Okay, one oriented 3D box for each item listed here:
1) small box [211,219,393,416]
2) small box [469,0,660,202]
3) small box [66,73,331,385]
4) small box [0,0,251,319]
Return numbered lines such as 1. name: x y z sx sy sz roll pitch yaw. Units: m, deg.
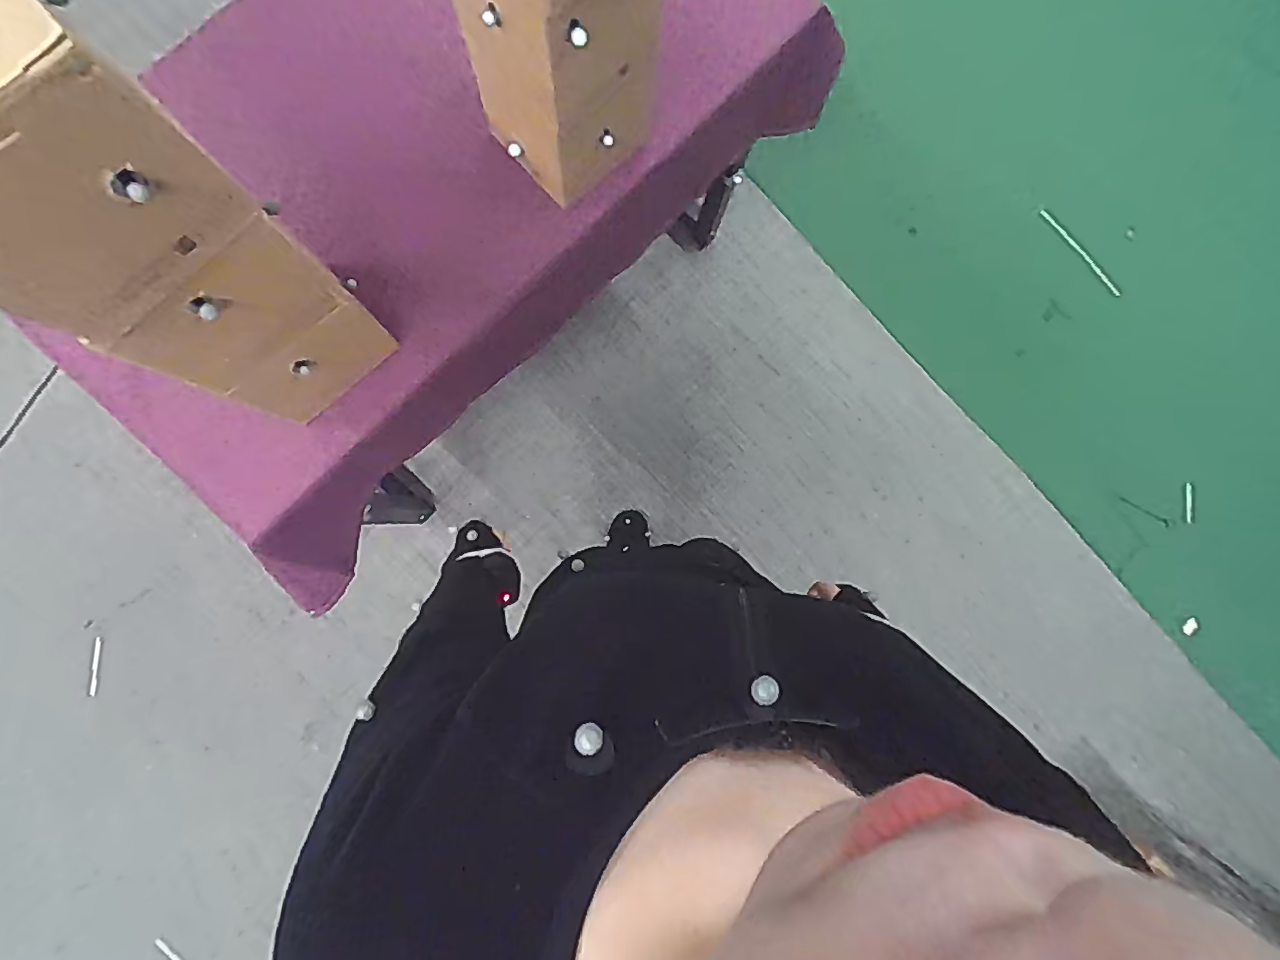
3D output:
1. small box: -0.453 -0.203 0.683 0.179 0.176 0.168 -42 90 -7
2. small box: -0.097 -0.530 0.736 0.179 0.176 0.168 -43 89 -5
3. small box: -0.438 -0.220 0.522 0.179 0.176 0.168 -43 90 -5
4. small box: -0.421 -0.232 0.360 0.179 0.176 0.168 45 84 1
